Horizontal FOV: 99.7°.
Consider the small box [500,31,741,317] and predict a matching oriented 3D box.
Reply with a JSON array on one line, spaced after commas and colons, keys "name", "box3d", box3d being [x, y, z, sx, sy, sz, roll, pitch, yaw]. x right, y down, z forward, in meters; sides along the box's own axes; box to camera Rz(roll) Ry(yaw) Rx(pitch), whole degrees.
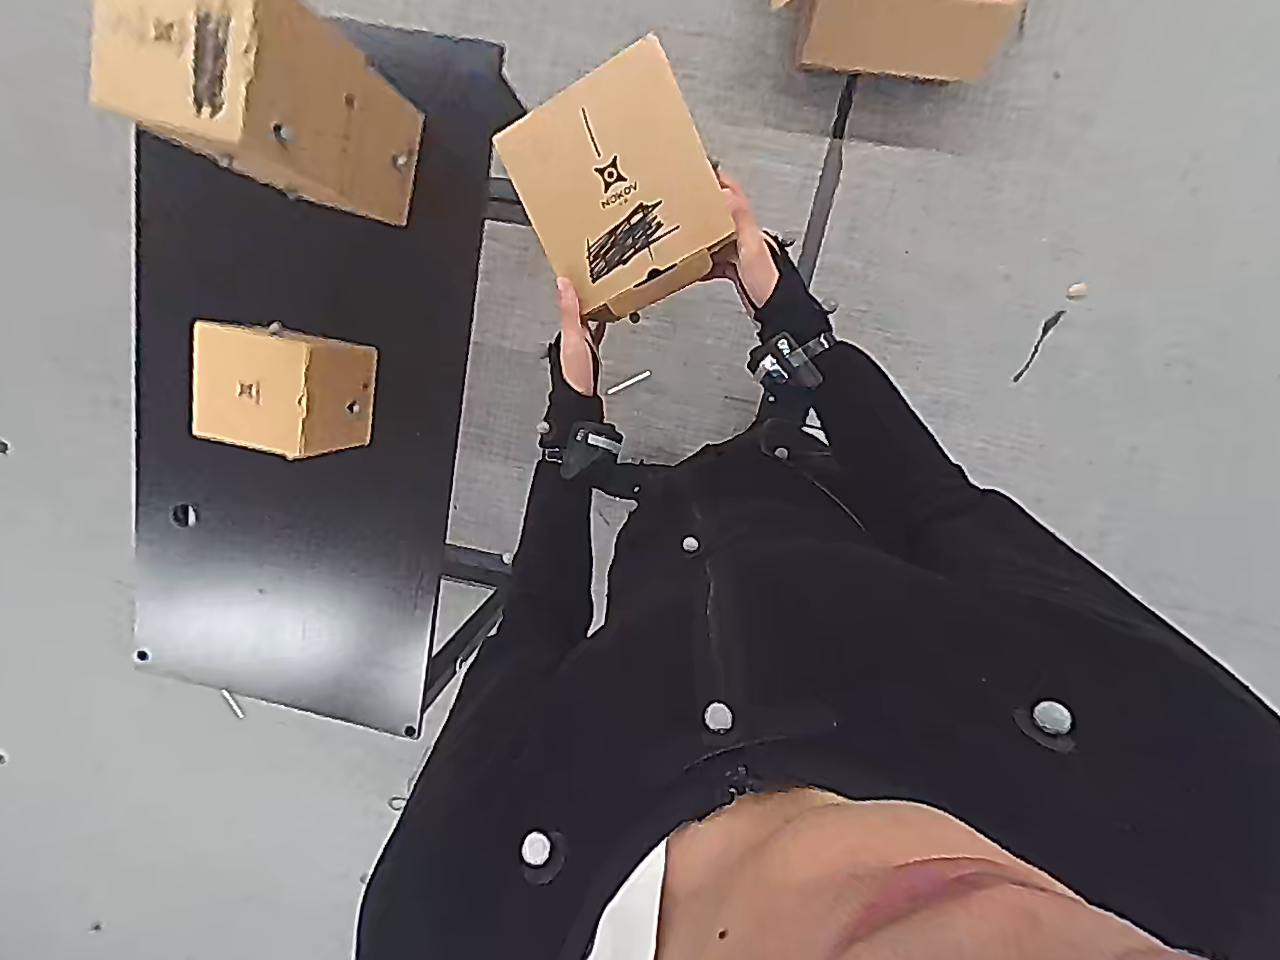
[{"name": "small box", "box3d": [-0.004, -0.278, 0.545, 0.168, 0.176, 0.179, -22, 99, 14]}]

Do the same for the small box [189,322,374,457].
[{"name": "small box", "box3d": [-0.555, -0.142, 0.850, 0.179, 0.176, 0.168, 11, 102, 4]}]

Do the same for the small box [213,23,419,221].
[{"name": "small box", "box3d": [-0.448, -0.489, 0.767, 0.179, 0.176, 0.168, 17, 104, 3]}]
